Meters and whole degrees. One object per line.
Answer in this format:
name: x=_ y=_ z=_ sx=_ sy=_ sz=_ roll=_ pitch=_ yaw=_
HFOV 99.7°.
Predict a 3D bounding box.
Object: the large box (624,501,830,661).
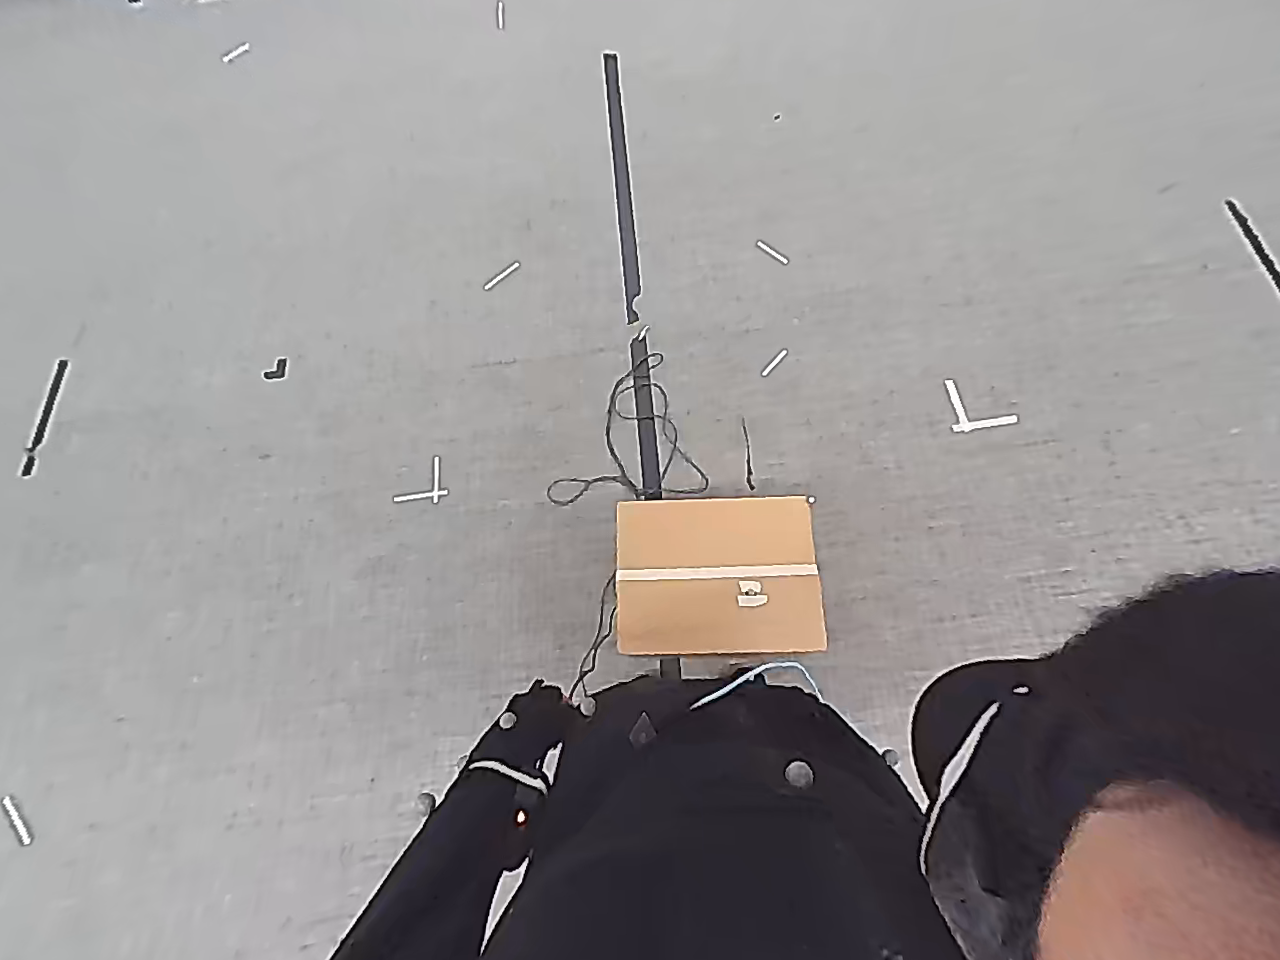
large box: x=0.175 y=0.247 z=1.243 sx=0.408 sy=0.320 sz=0.320 roll=-2 pitch=71 yaw=3
